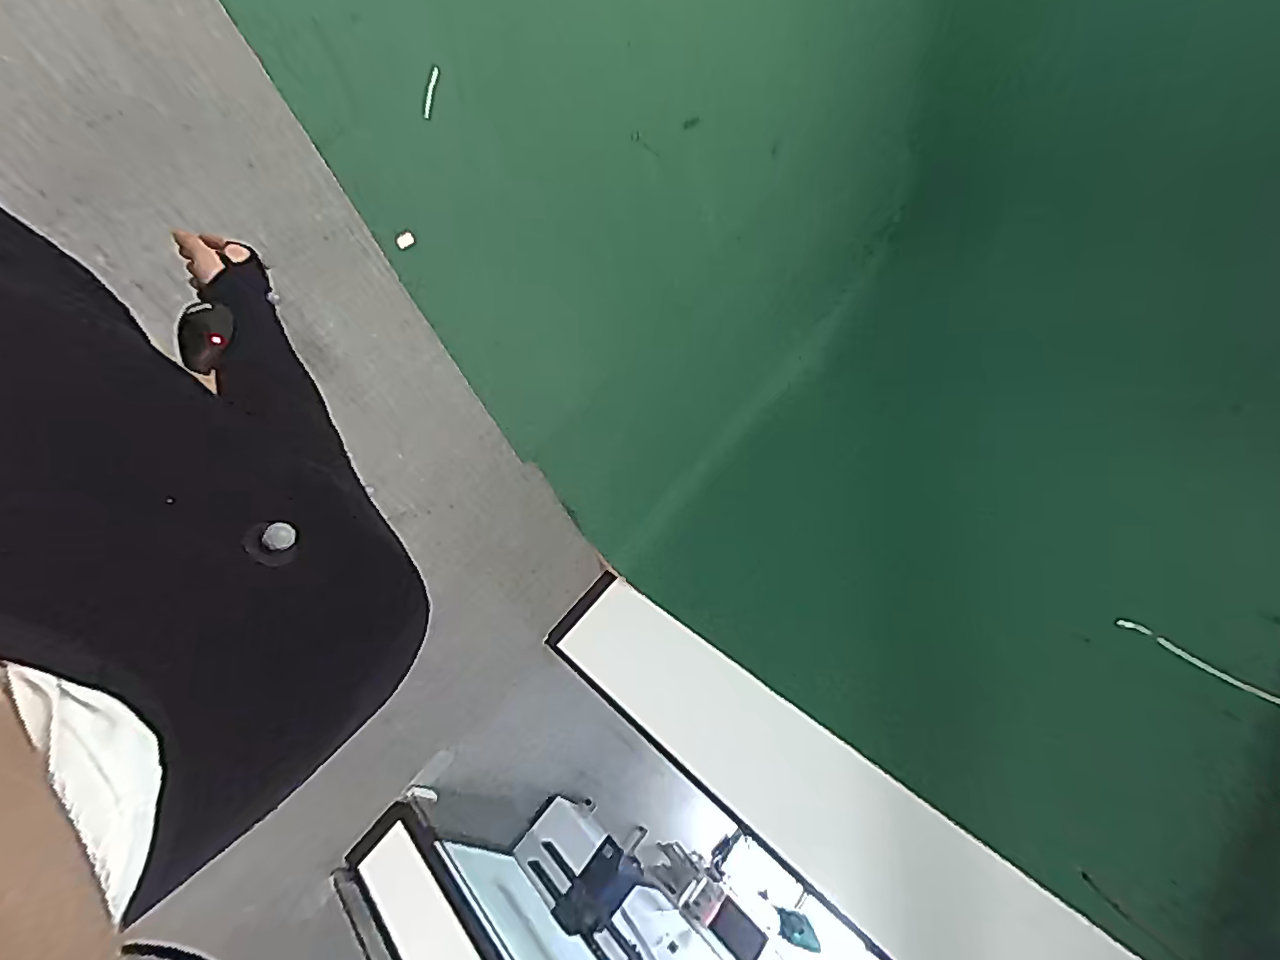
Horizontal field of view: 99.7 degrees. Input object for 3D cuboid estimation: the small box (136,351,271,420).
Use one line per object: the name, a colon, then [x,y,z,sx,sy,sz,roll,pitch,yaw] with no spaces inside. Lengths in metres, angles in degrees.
small box: [-1.026,-0.186,1.271,0.168,0.176,0.179,-43,141,-23]
